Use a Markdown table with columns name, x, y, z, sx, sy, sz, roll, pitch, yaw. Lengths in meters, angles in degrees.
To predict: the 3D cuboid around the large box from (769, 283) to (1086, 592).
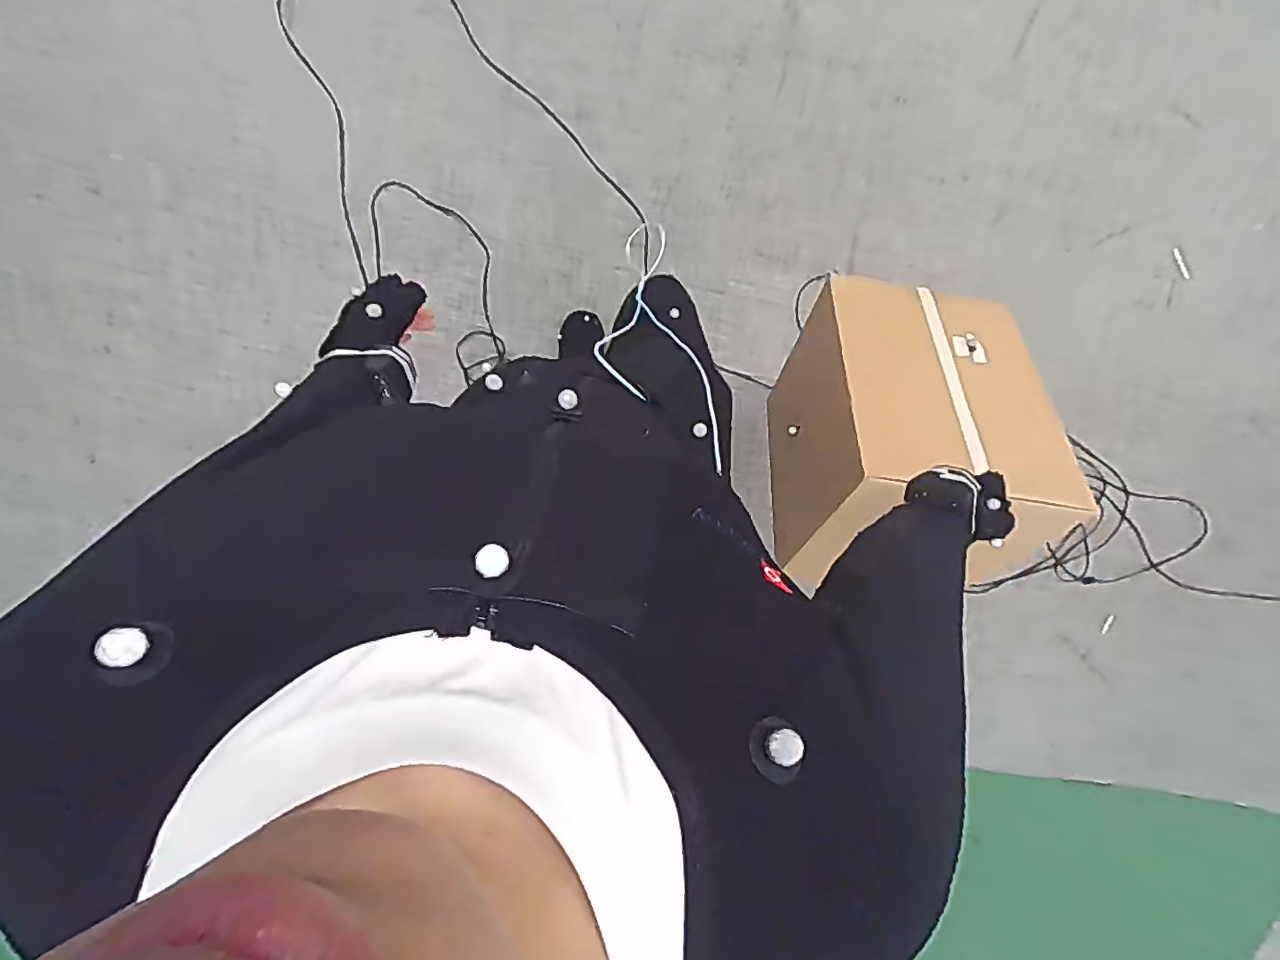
| name | x | y | z | sx | sy | sz | roll | pitch | yaw |
| --- | --- | --- | --- | --- | --- | --- | --- | --- | --- |
| large box | 0.424 | -0.062 | 0.921 | 0.320 | 0.408 | 0.320 | 9 | 146 | -5 |
